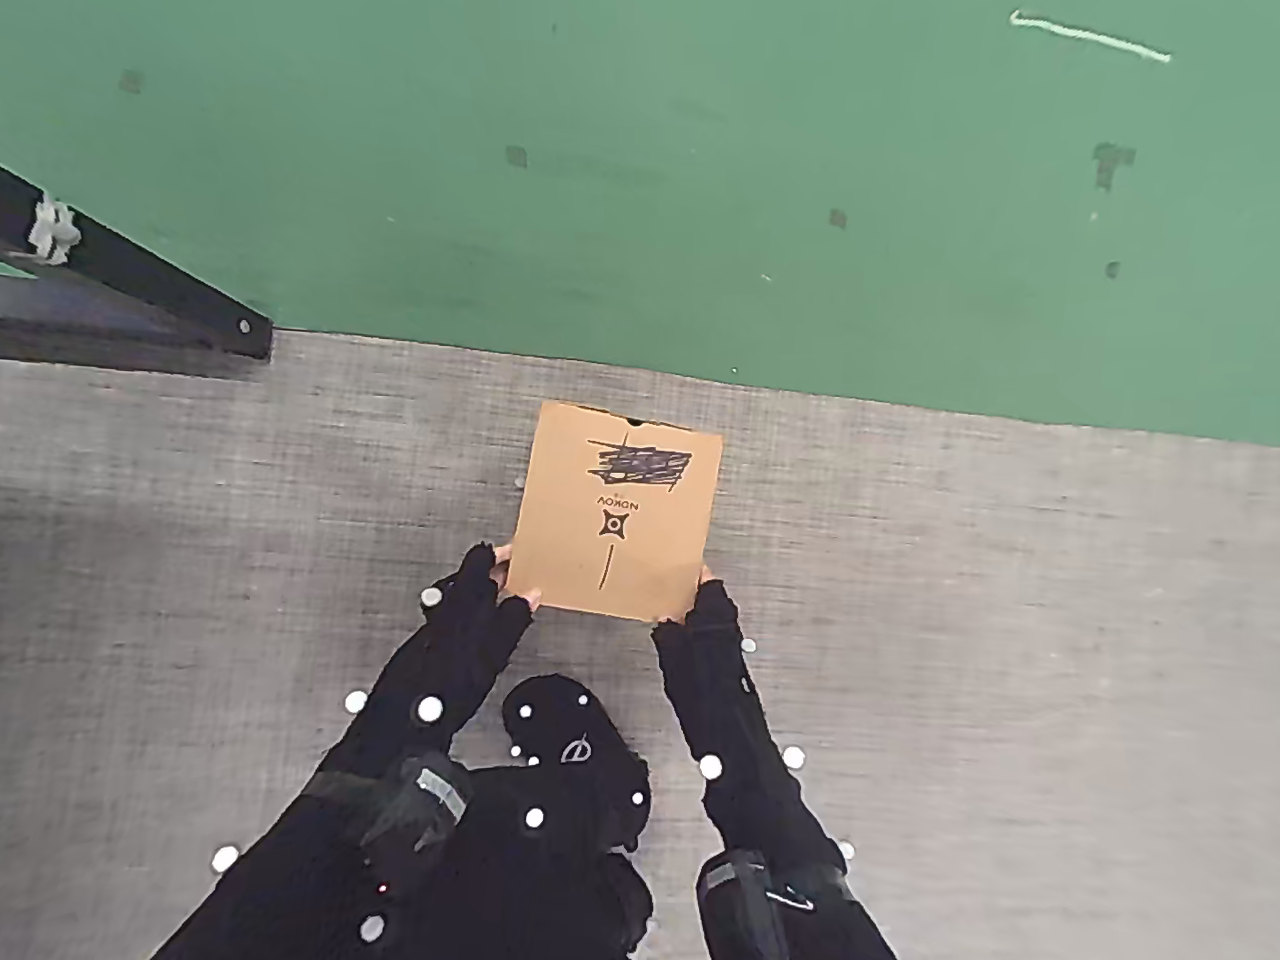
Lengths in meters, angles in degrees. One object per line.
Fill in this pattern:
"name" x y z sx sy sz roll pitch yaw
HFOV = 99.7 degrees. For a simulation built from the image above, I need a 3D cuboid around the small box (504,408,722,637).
"small box" -0.031 0.041 0.549 0.168 0.176 0.179 11 87 -6
